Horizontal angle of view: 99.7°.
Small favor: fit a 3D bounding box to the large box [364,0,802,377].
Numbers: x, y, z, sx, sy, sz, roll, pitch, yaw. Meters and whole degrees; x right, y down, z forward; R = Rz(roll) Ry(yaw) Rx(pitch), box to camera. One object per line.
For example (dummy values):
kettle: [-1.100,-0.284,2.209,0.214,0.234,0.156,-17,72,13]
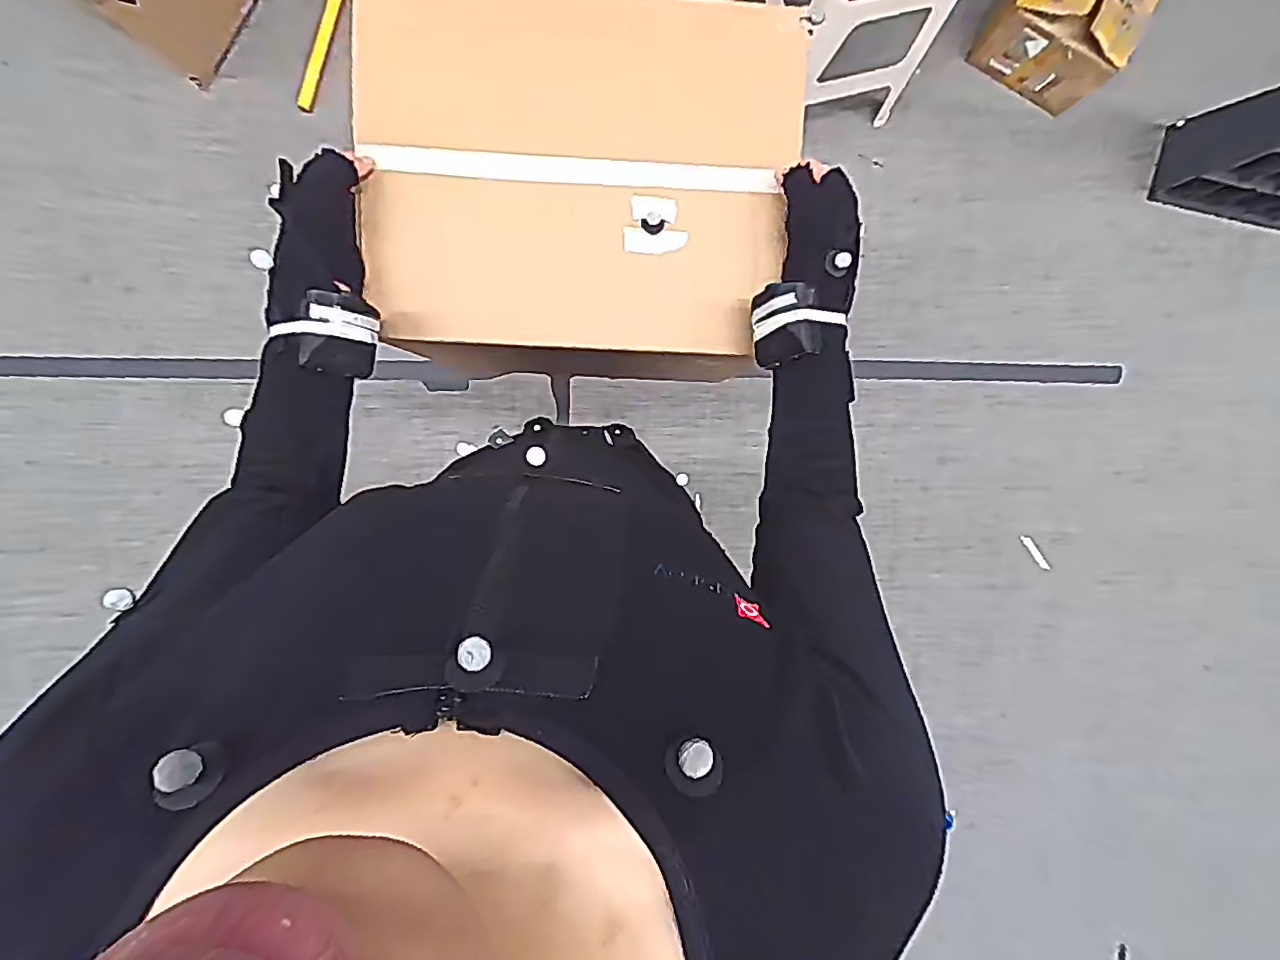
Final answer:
large box: [-0.061,-0.298,0.649,0.408,0.320,0.320,2,96,-4]
